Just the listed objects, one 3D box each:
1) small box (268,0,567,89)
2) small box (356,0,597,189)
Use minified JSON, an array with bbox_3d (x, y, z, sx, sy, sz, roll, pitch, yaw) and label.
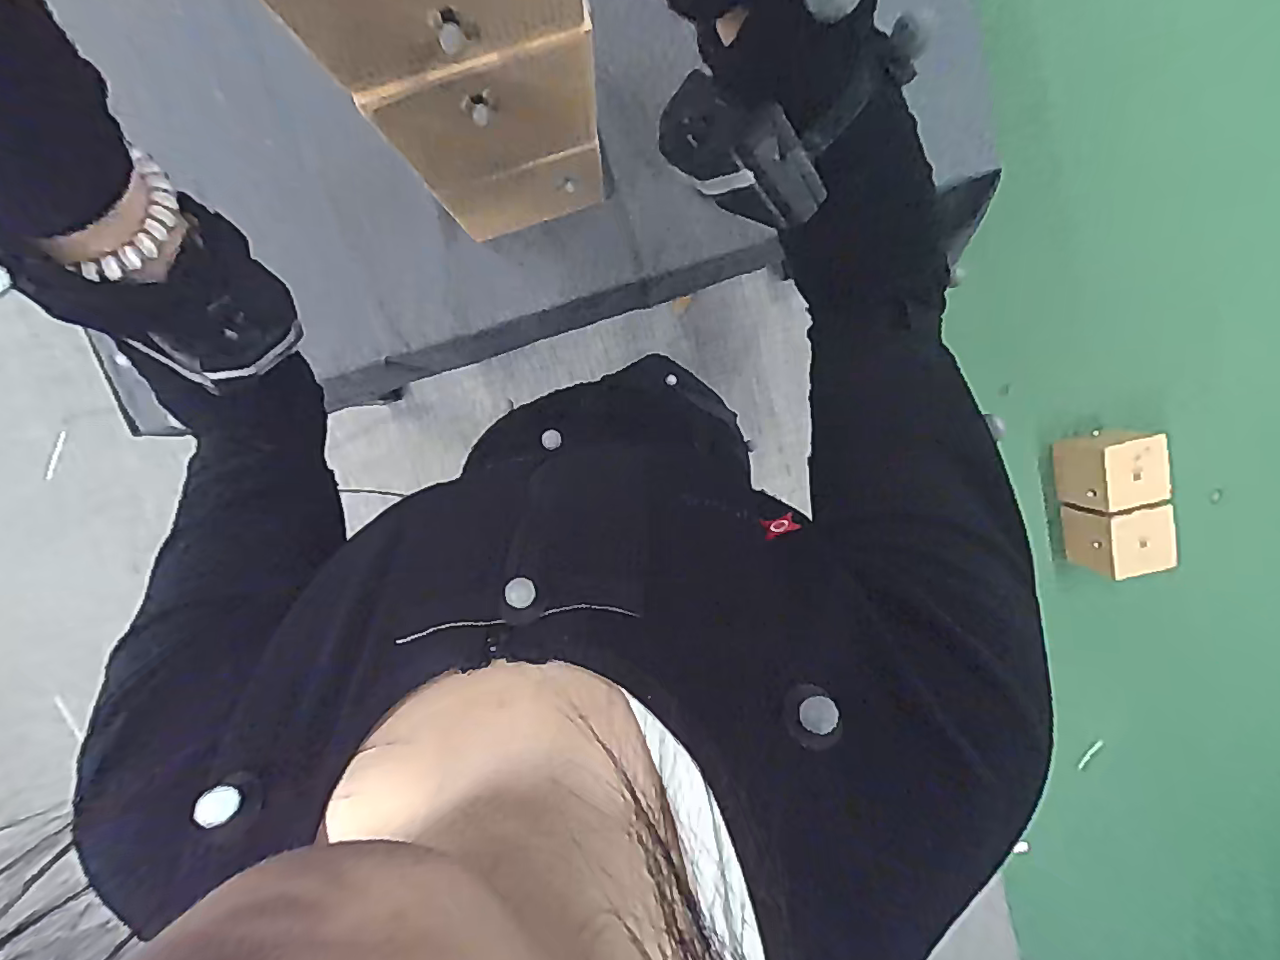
[{"bbox_3d":[-0.139,-0.355,0.286,0.179,0.176,0.168,-16,99,0],"label":"small box"},{"bbox_3d":[-0.142,-0.376,0.448,0.179,0.176,0.168,-18,99,1],"label":"small box"}]
